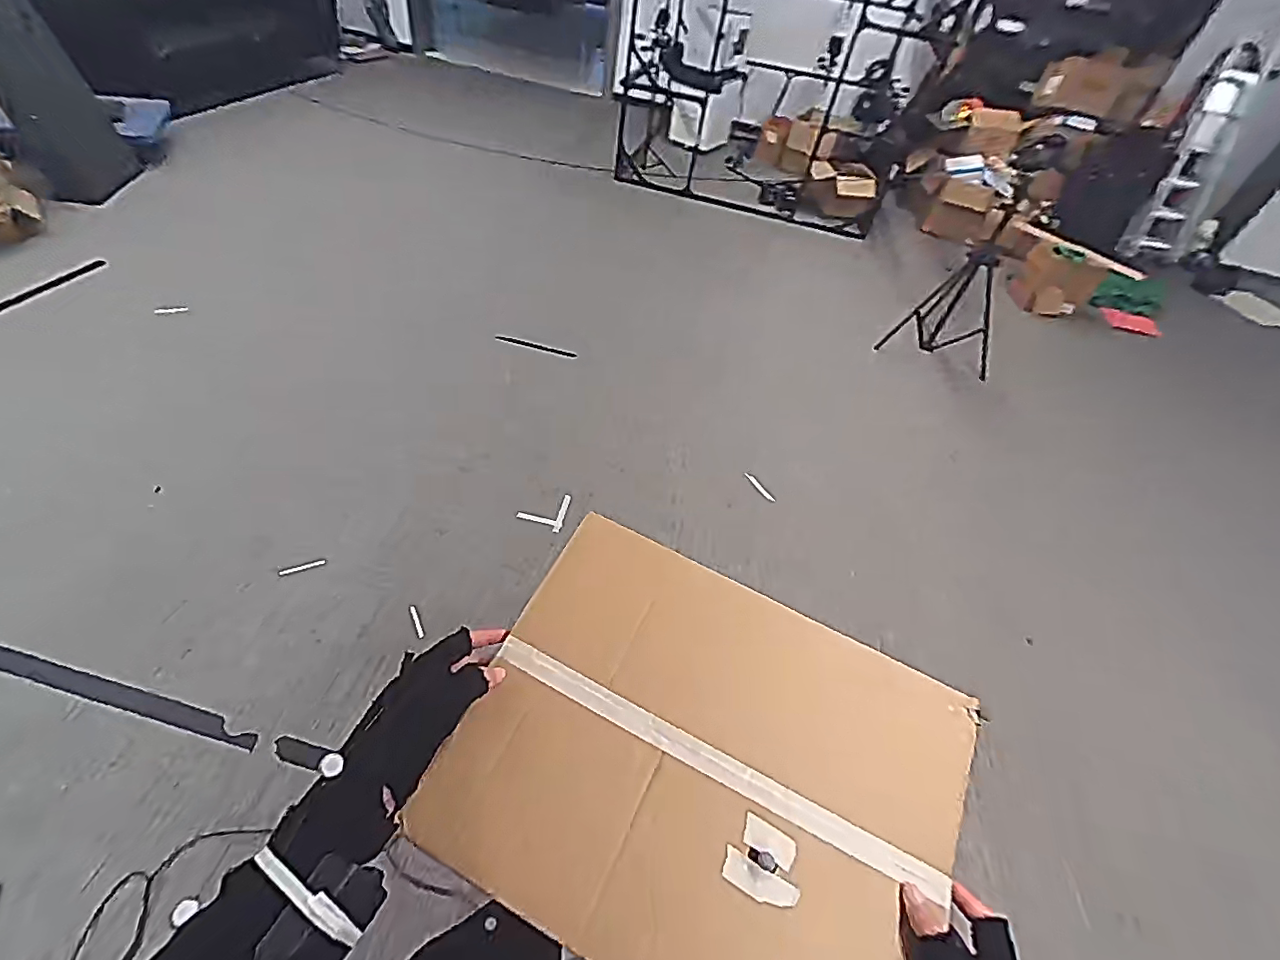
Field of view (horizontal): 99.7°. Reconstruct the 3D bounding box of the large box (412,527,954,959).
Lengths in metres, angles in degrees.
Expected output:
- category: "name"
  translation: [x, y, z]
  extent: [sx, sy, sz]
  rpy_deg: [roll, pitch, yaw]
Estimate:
- category: "large box"
  translation: [0.045, 0.317, 0.600]
  extent: [0.408, 0.320, 0.320]
  rpy_deg: [25, 61, 10]
